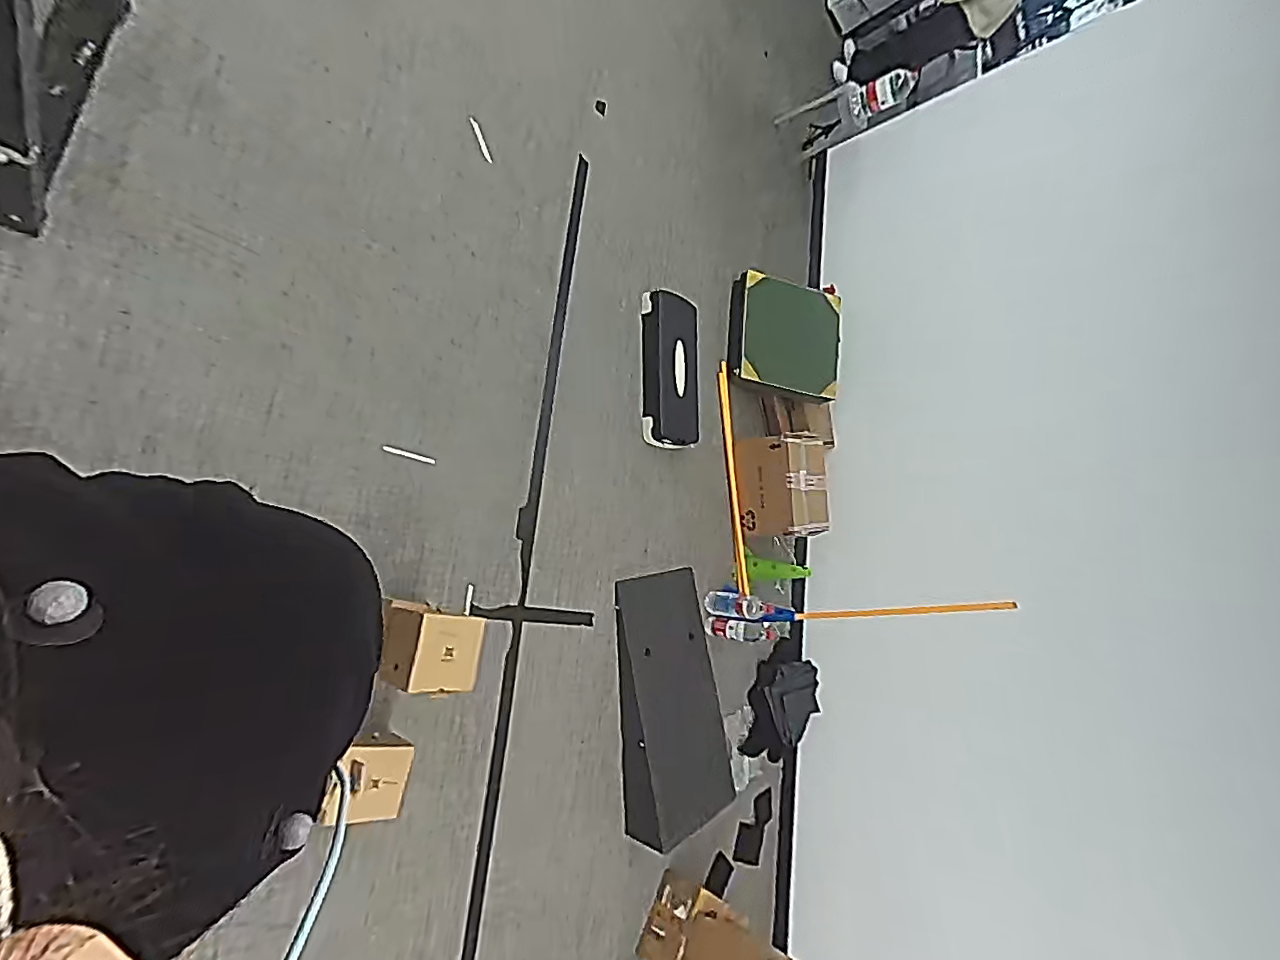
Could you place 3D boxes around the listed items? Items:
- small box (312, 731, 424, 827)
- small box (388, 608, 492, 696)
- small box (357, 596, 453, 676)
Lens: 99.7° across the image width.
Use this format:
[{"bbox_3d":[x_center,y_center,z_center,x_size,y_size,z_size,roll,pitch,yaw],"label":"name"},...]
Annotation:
[{"bbox_3d":[-0.673,0.728,1.331,0.179,0.176,0.168,27,68,-43],"label":"small box"},{"bbox_3d":[-0.489,0.416,1.315,0.168,0.176,0.179,21,71,-45],"label":"small box"},{"bbox_3d":[-0.616,0.413,1.419,0.168,0.176,0.179,26,69,-43],"label":"small box"}]
